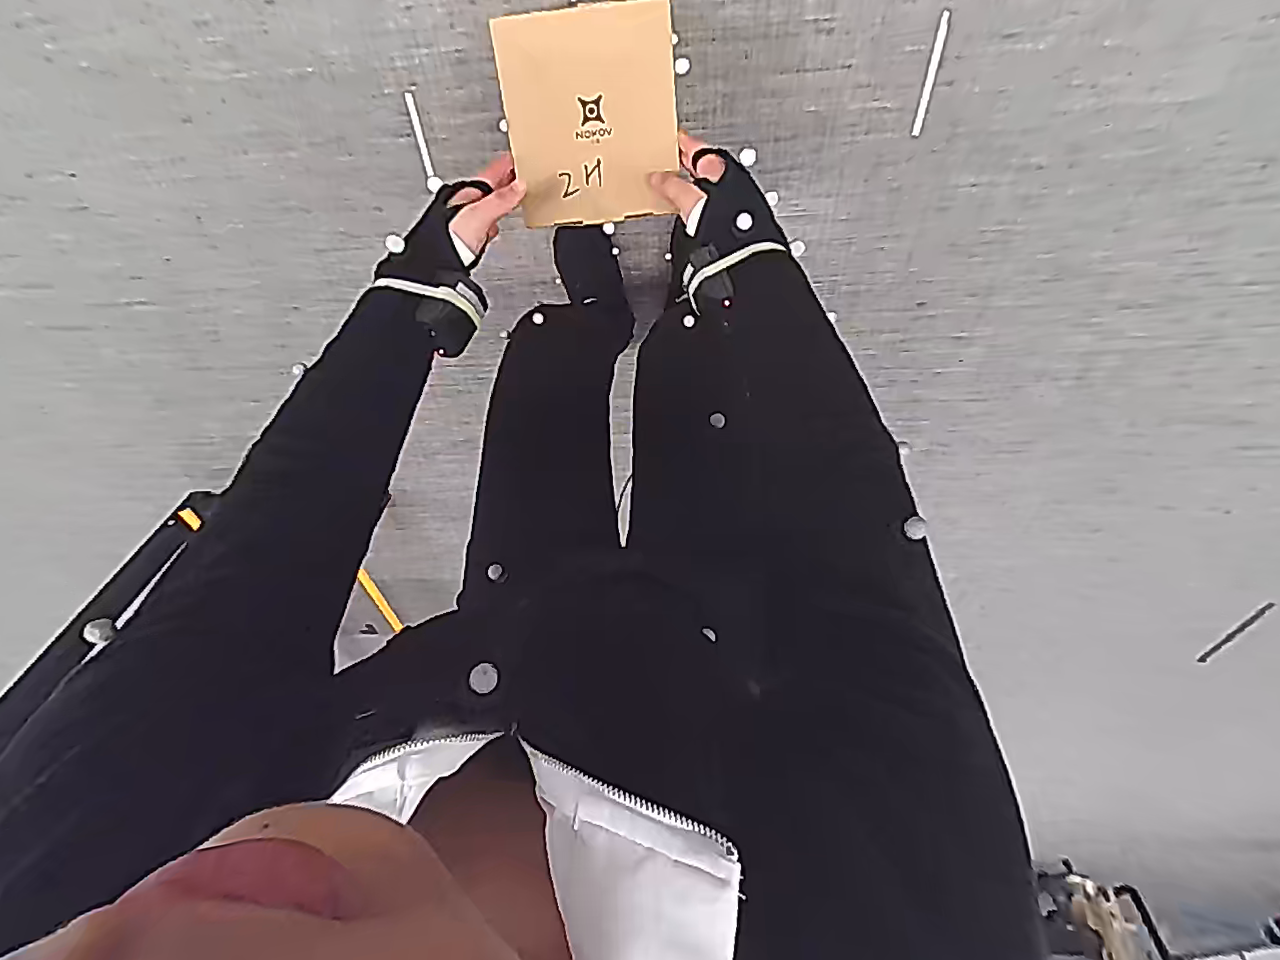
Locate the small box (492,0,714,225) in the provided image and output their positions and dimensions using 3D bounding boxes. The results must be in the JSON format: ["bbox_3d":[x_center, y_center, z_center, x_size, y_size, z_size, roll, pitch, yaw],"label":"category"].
[{"bbox_3d":[-0.025,-0.341,0.503,0.168,0.176,0.179,-5,116,3],"label":"small box"}]
